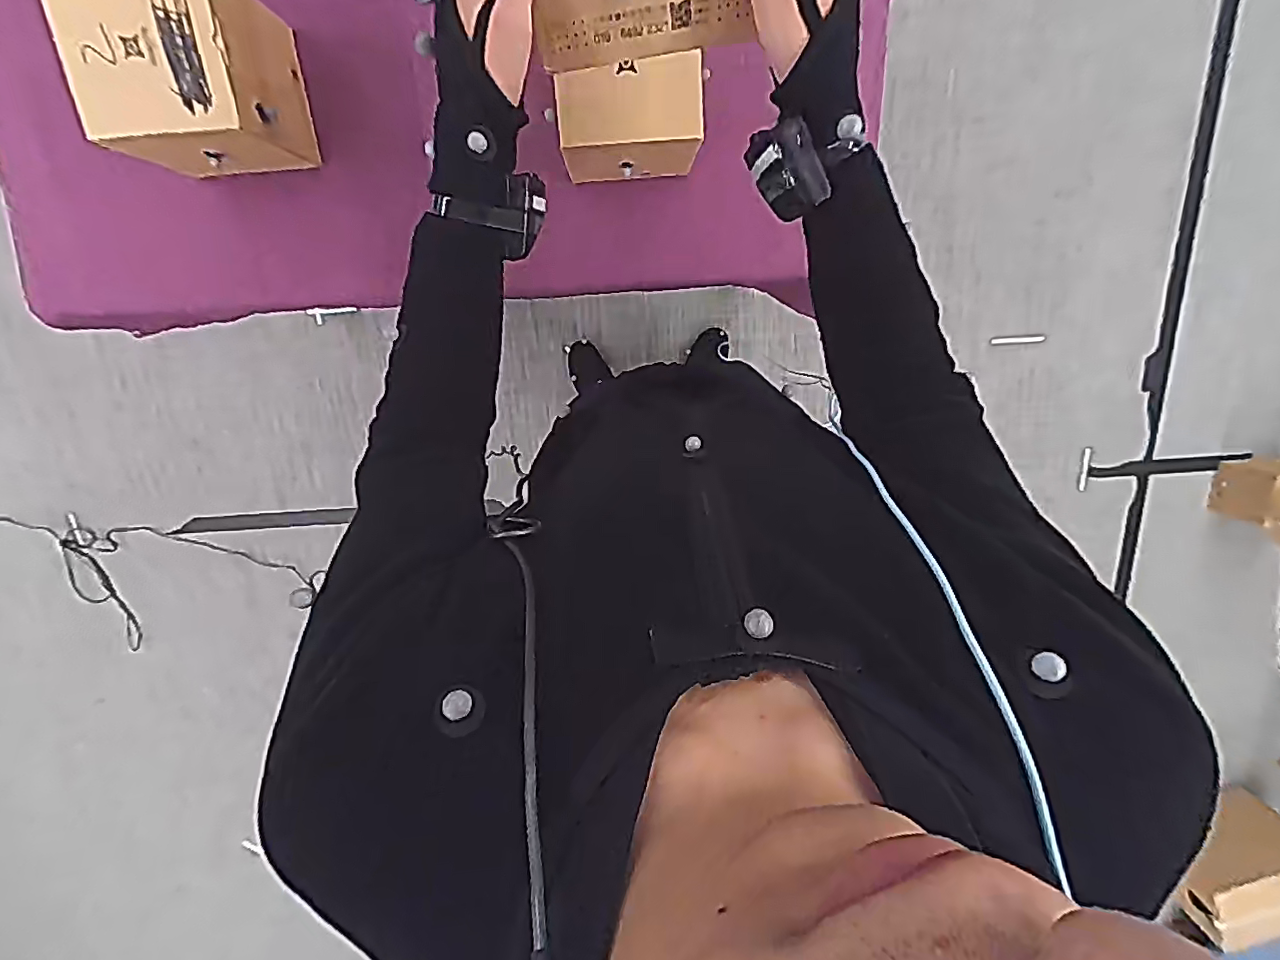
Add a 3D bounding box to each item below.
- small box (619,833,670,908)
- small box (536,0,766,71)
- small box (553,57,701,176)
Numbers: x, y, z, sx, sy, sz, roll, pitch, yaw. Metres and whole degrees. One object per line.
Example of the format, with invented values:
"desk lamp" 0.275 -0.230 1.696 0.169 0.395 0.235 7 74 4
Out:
"small box" 0.012 1.471 2.044 0.179 0.176 0.168 3 107 -4
"small box" 0.003 -0.426 0.400 0.168 0.179 0.176 -5 136 7
"small box" -0.016 -0.490 0.670 0.168 0.176 0.179 -4 107 -1
